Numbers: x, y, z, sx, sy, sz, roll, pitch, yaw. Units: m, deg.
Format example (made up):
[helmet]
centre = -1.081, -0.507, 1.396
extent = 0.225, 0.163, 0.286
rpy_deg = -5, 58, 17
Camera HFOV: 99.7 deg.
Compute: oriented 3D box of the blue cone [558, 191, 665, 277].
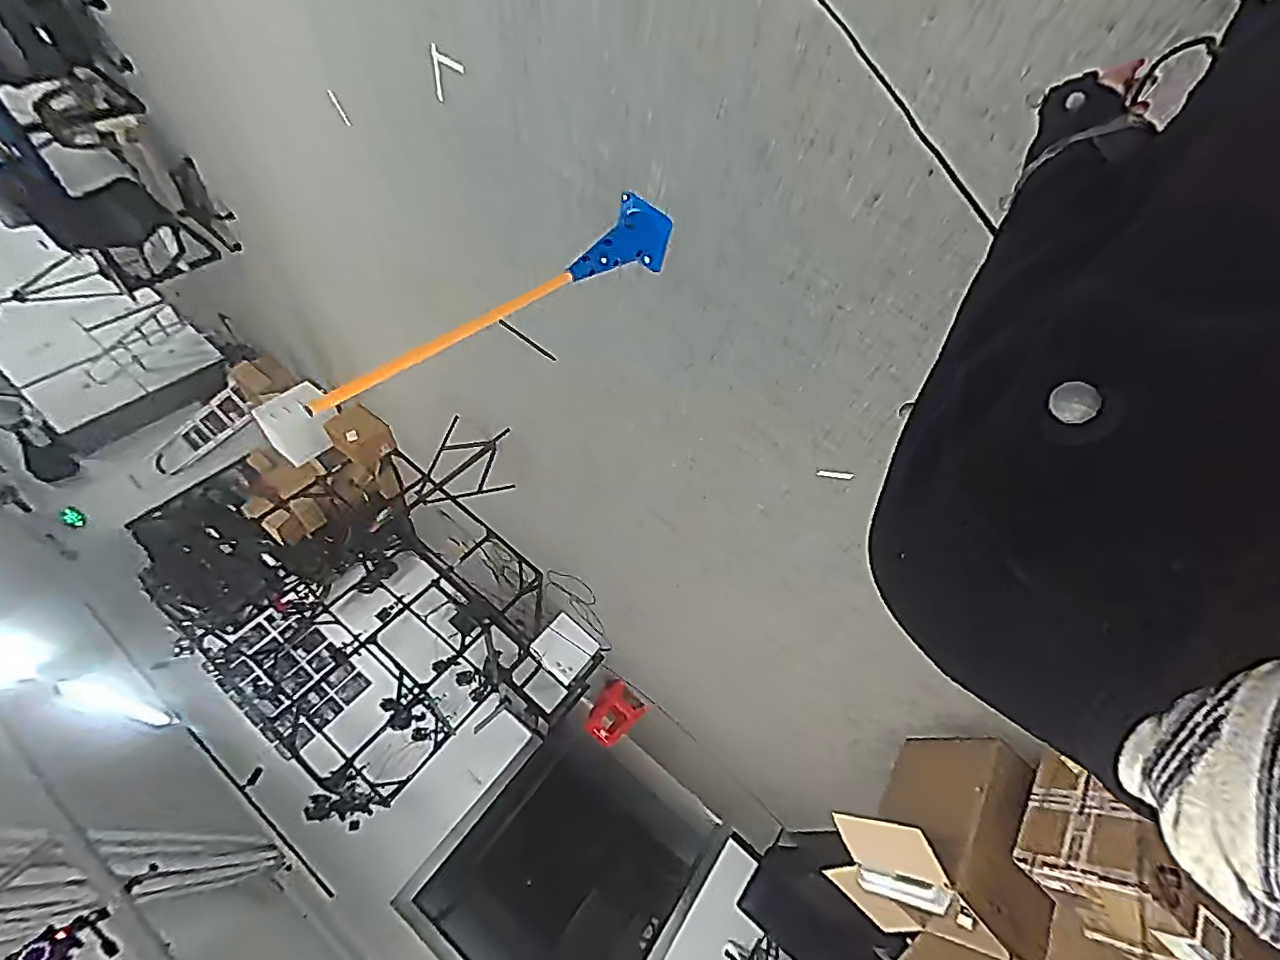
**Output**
[blue cone]
centre = -0.105, -0.713, 1.671
extent = 0.192, 0.380, 0.193
rpy_deg = 40, 148, 10
